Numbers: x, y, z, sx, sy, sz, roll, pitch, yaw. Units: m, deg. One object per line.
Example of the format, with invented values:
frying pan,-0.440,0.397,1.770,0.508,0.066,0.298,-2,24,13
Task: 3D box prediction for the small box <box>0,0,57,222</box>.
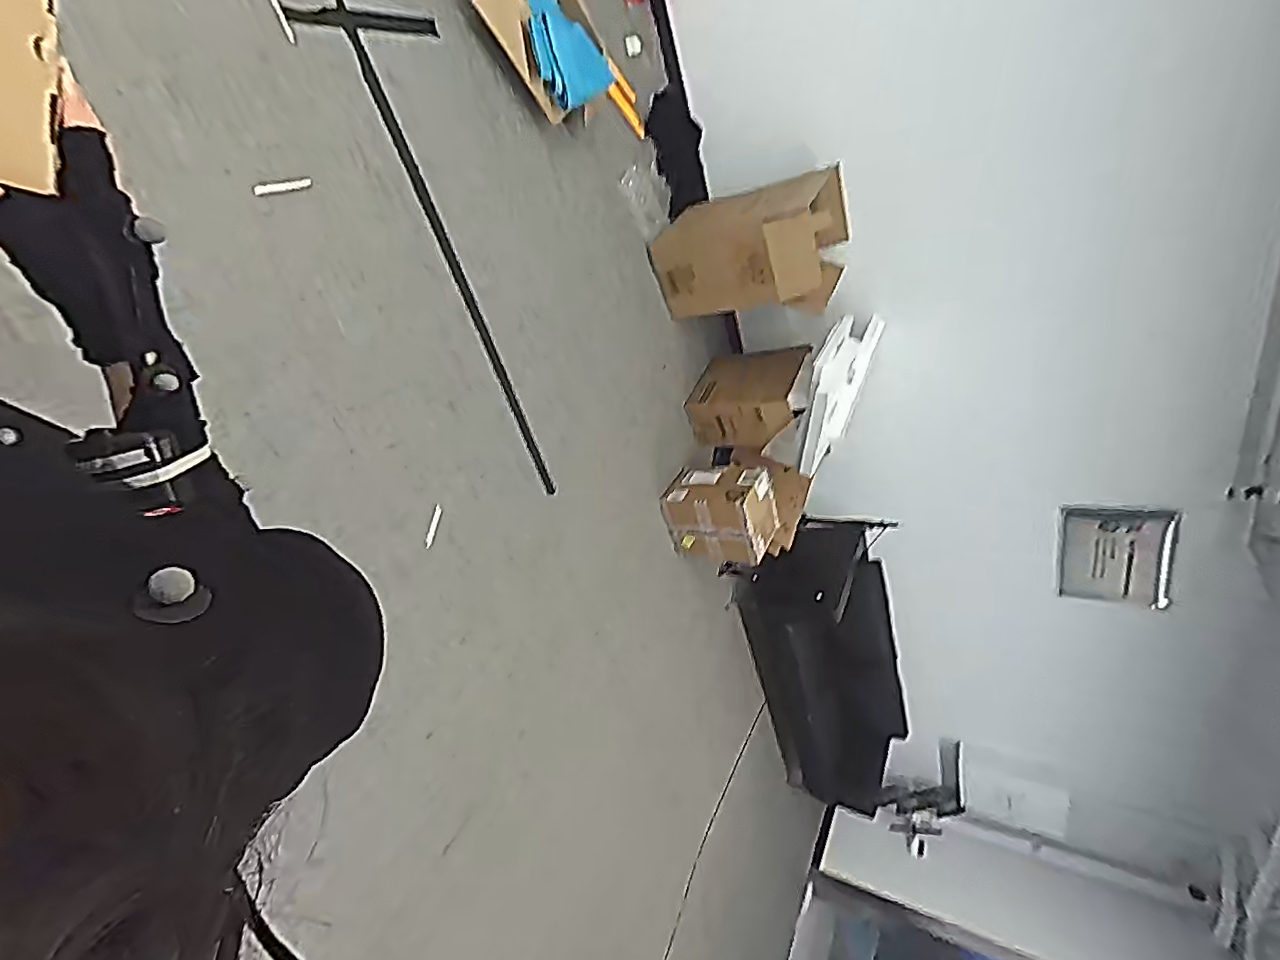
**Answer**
small box,-0.460,-0.257,0.292,0.179,0.176,0.168,0,95,-55
